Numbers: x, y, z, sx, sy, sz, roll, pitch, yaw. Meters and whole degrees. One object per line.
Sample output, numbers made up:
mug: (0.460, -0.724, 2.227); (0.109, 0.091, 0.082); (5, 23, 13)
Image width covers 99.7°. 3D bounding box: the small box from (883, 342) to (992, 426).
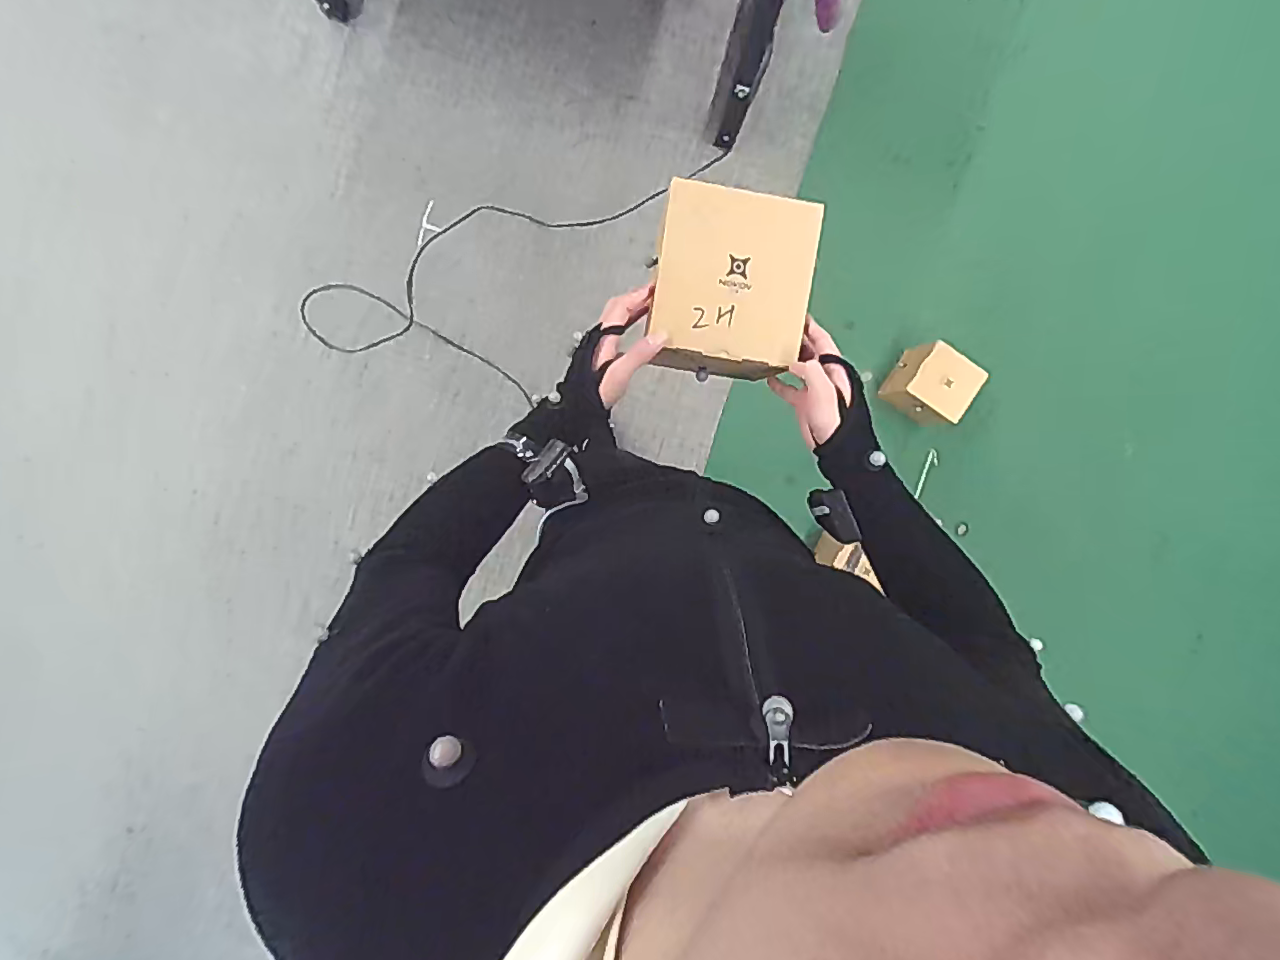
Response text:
small box: (0.844, -0.268, 1.551); (0.179, 0.176, 0.168); (33, 92, -3)
